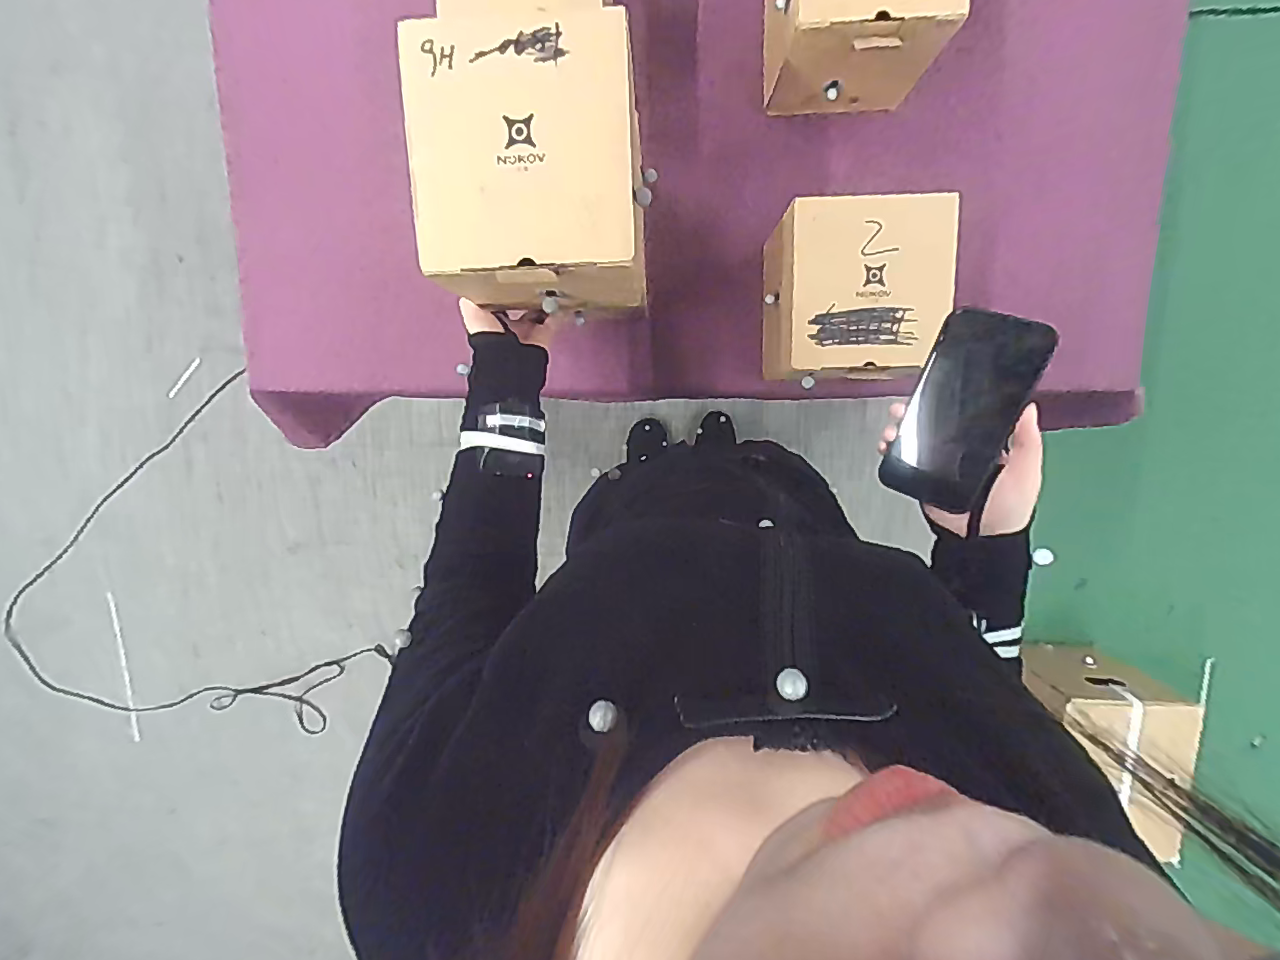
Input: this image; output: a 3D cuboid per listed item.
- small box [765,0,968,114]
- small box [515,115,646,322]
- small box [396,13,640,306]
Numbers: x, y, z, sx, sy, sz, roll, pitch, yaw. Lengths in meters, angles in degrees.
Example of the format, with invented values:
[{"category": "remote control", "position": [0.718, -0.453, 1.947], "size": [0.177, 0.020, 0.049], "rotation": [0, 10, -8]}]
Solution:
[{"category": "small box", "position": [0.233, -0.539, 0.589], "size": [0.168, 0.176, 0.179], "rotation": [-2, 99, 3]}, {"category": "small box", "position": [-0.078, -0.291, 0.635], "size": [0.168, 0.176, 0.179], "rotation": [-2, 98, 3]}, {"category": "small box", "position": [-0.087, -0.253, 0.475], "size": [0.168, 0.176, 0.179], "rotation": [-2, 99, 2]}]
